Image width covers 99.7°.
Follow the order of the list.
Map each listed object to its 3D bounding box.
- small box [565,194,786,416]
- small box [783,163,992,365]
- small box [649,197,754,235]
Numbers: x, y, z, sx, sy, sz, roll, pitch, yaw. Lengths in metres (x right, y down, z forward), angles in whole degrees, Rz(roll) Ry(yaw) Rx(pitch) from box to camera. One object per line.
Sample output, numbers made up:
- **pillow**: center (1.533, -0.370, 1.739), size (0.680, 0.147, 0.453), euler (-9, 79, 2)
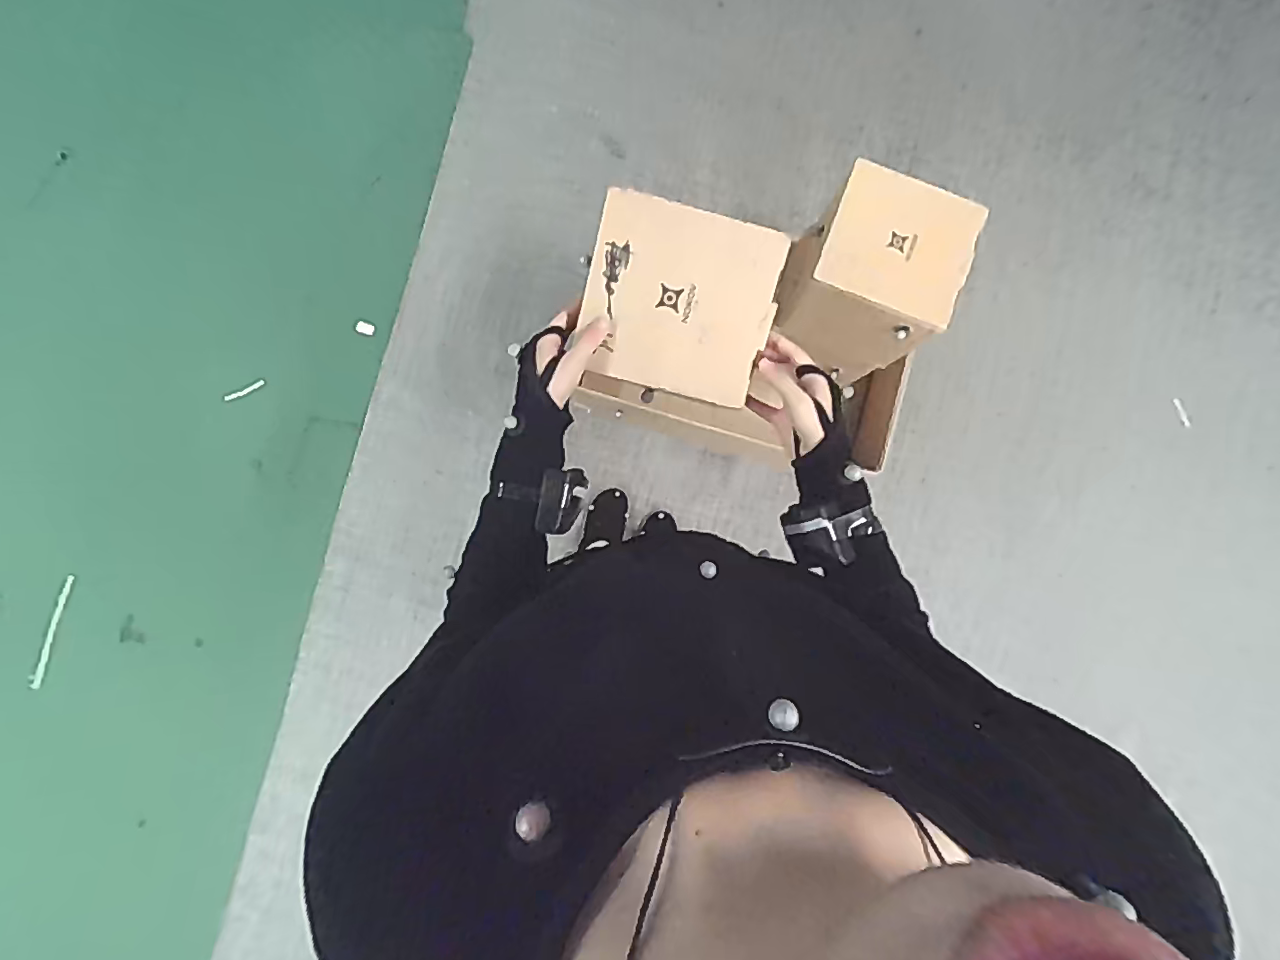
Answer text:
- **small box**: center (0.029, -0.172, 0.581), size (0.179, 0.176, 0.168), euler (14, 97, -4)
- **small box**: center (0.314, -0.273, 0.726), size (0.179, 0.176, 0.168), euler (22, 87, 0)
- **small box**: center (0.068, -0.315, 0.881), size (0.168, 0.176, 0.179), euler (16, 88, -2)
